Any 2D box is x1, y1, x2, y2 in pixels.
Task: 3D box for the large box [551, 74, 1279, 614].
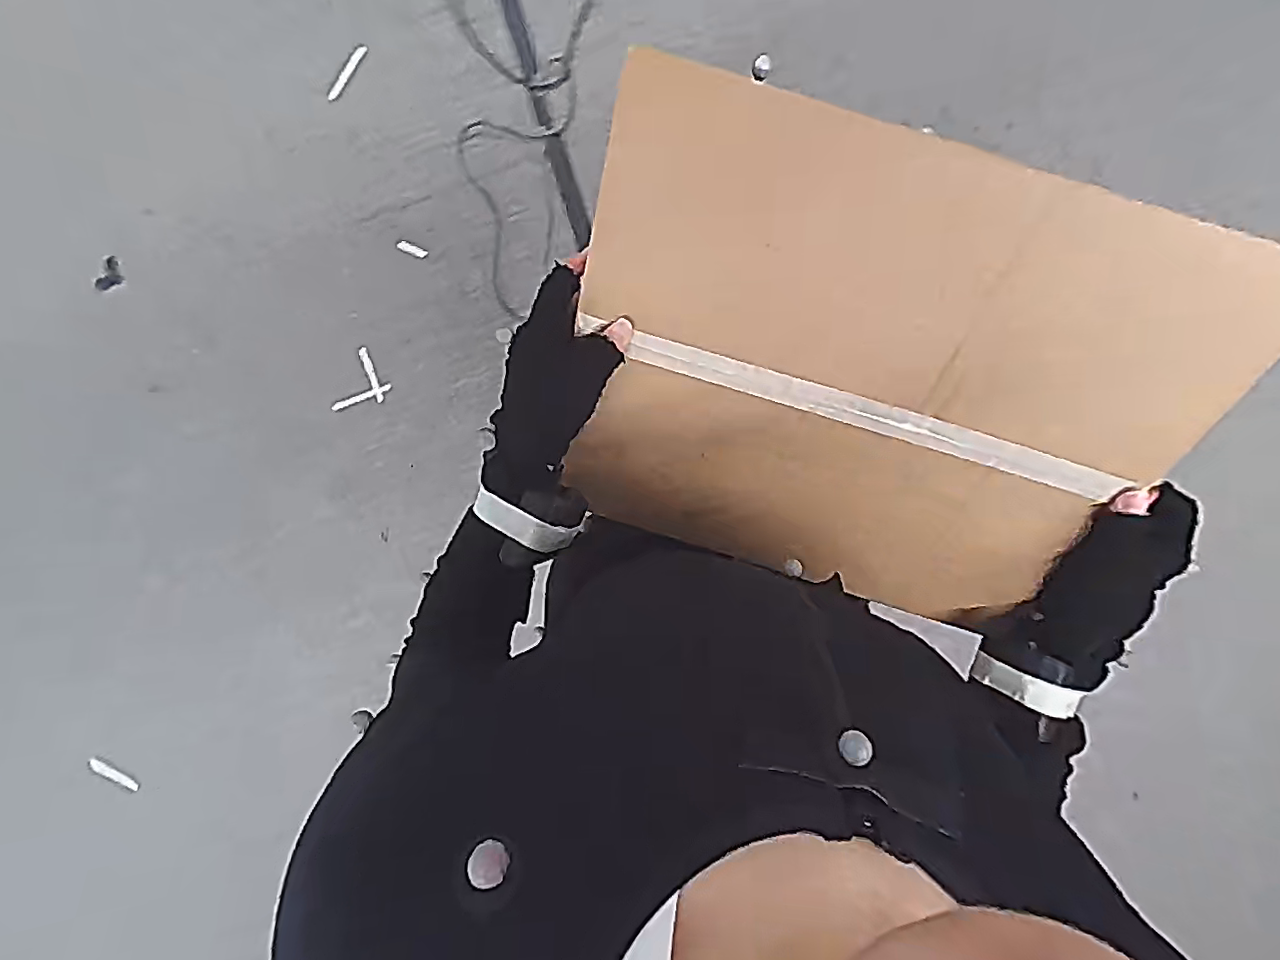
[{"bbox_3d":[0.165,-0.136,0.508,0.408,0.320,0.320,16,125,0],"label":"large box"}]
